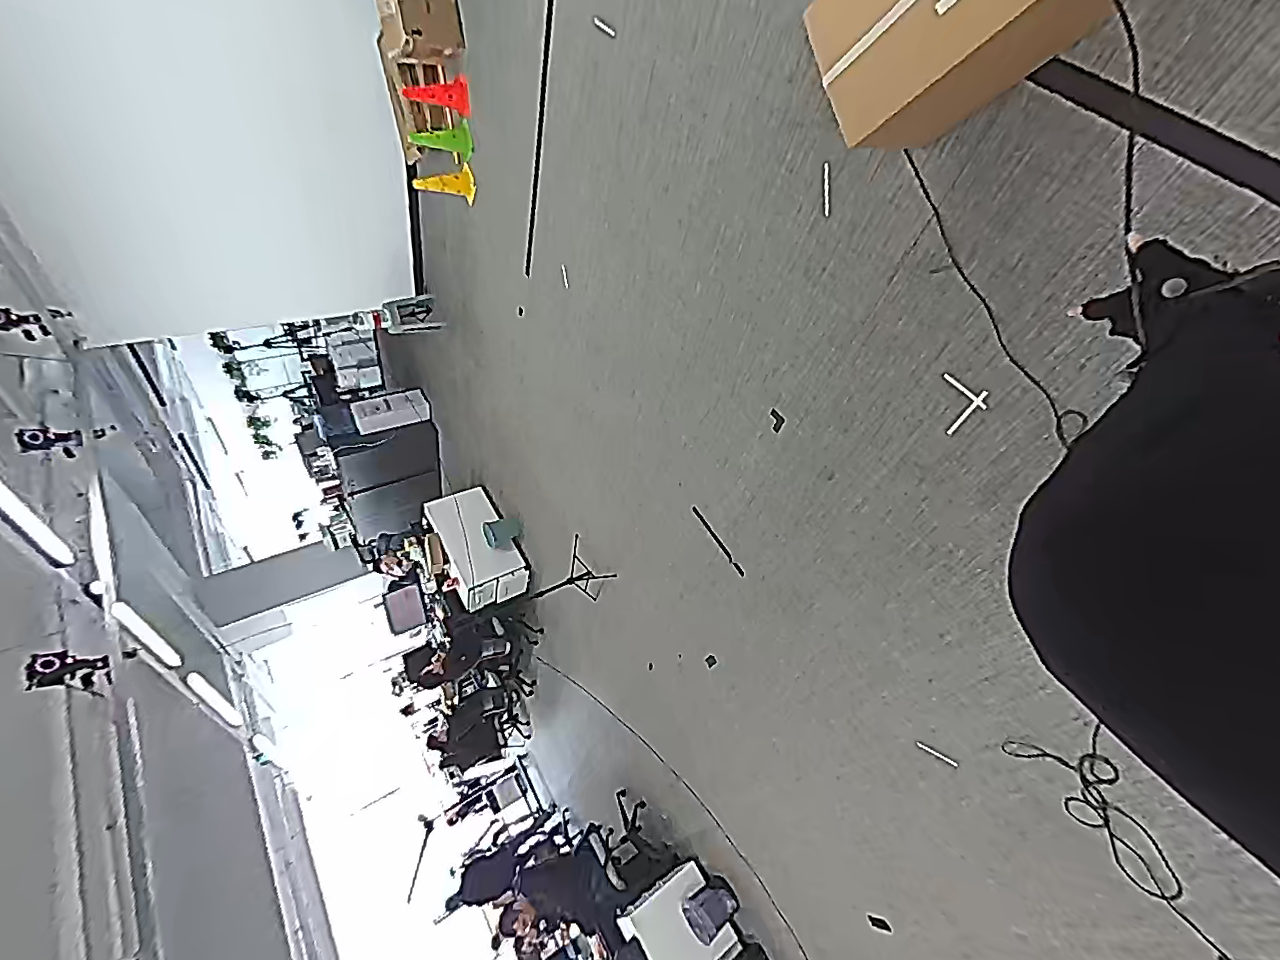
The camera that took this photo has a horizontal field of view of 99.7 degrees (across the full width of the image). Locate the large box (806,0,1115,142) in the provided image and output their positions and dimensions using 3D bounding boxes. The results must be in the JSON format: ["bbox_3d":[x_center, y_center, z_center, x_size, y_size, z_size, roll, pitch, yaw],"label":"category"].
[{"bbox_3d":[0.622,-0.958,1.083,0.408,0.320,0.320,-16,96,58],"label":"large box"}]
